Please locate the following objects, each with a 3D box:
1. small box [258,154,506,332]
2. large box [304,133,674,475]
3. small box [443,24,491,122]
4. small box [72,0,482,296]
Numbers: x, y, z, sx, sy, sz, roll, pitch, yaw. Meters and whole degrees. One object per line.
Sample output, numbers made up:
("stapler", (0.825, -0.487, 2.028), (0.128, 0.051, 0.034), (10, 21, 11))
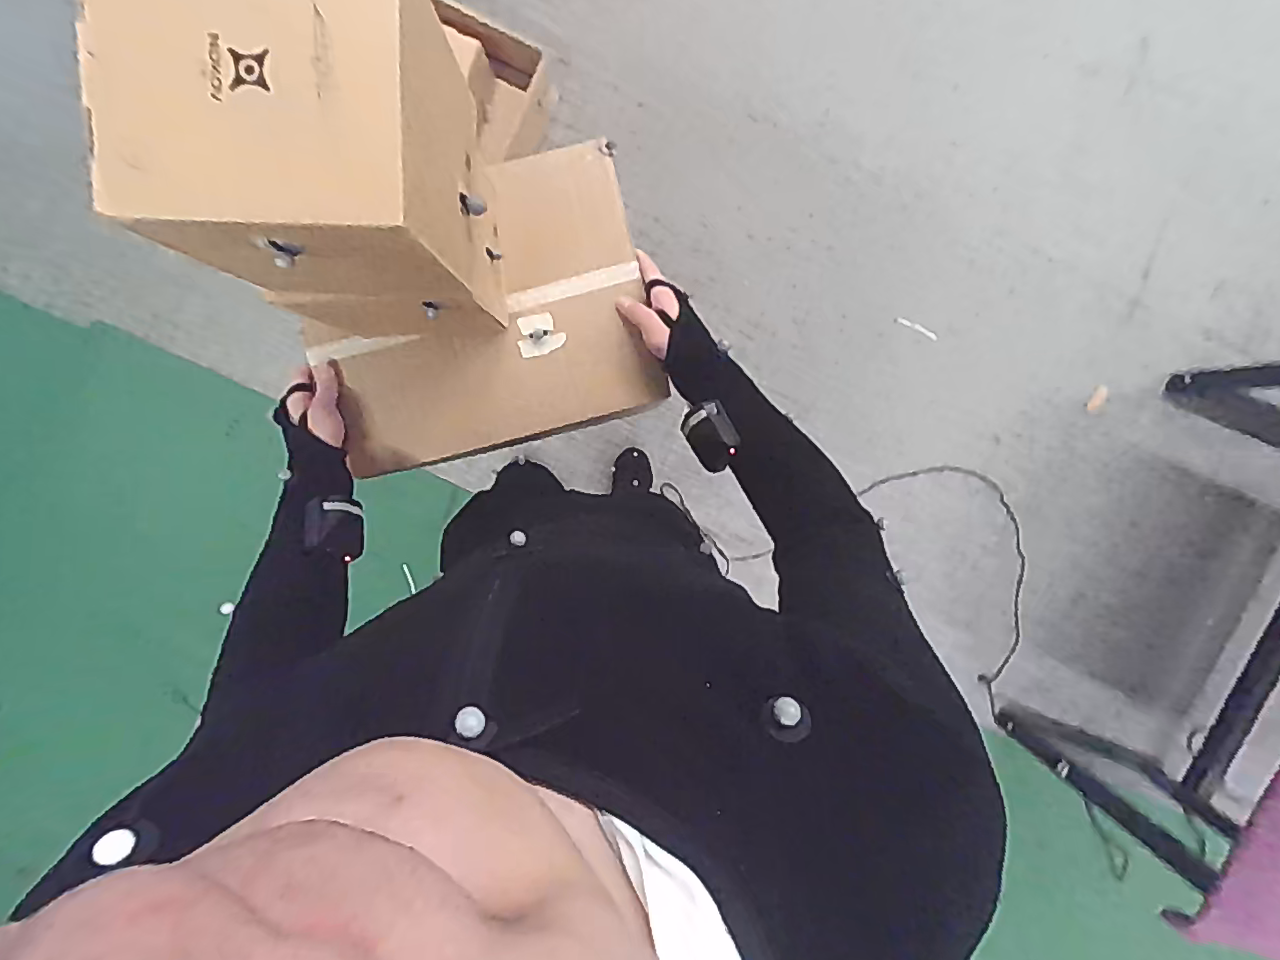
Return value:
("small box", (-0.243, -0.246, 0.536), (0.179, 0.176, 0.168), (-3, 95, -2))
("large box", (-0.193, -0.217, 0.784), (0.408, 0.320, 0.320), (-15, 97, -1))
("small box", (-0.502, -1.033, 1.399), (0.168, 0.176, 0.179), (21, 96, -1))
("small box", (-0.221, -0.233, 0.374), (0.179, 0.176, 0.168), (2, 95, -2))
